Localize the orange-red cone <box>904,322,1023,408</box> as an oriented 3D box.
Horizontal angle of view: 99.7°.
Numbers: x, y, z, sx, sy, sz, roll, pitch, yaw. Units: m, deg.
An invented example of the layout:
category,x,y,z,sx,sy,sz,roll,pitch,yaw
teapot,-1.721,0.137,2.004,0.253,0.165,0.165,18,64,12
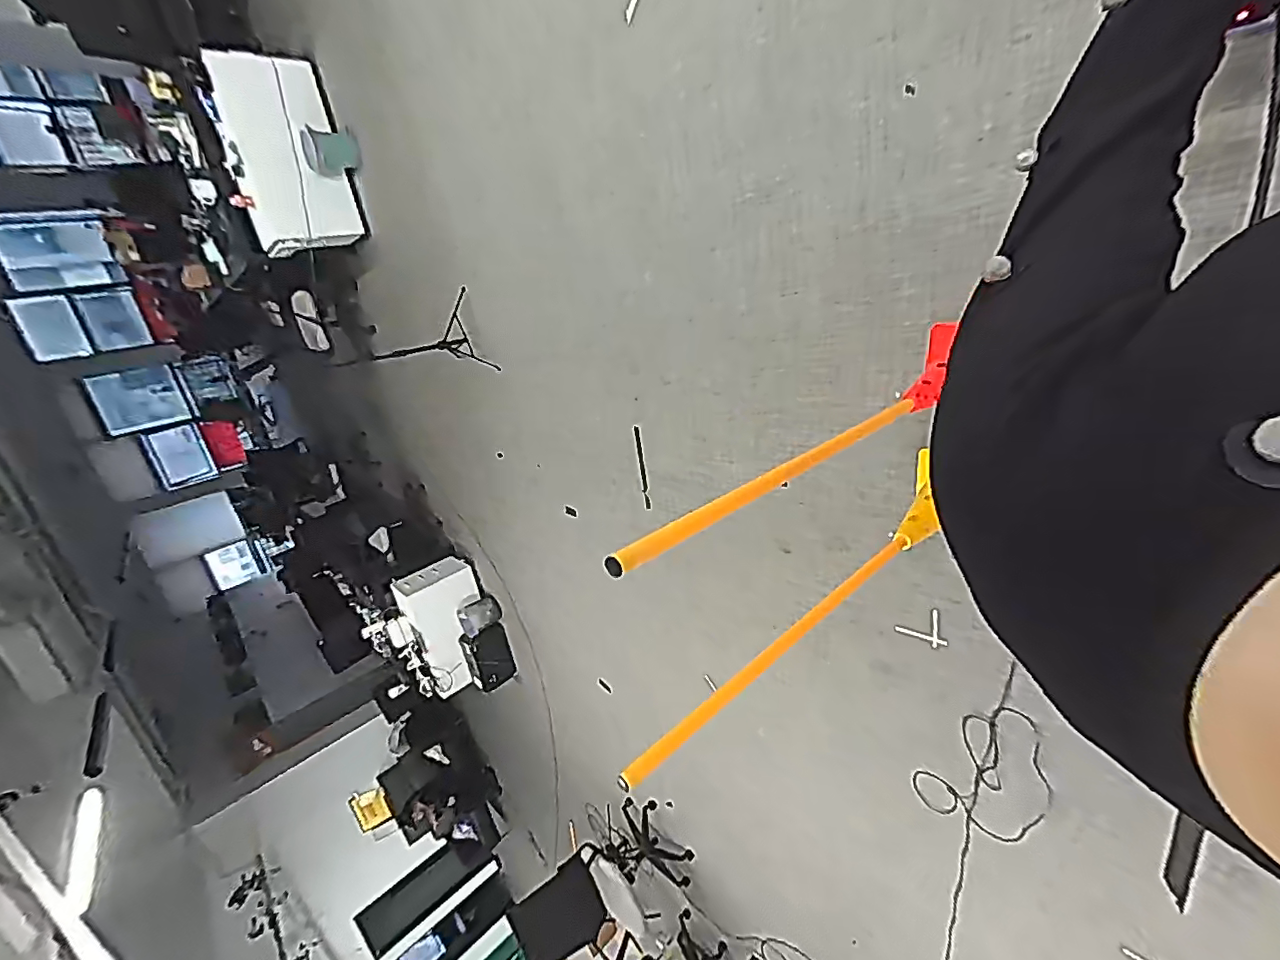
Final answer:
category,x,y,z,sx,sy,sz,roll,pitch,yaw
orange-red cone,0.687,-0.226,1.222,0.198,0.360,0.199,20,124,42
